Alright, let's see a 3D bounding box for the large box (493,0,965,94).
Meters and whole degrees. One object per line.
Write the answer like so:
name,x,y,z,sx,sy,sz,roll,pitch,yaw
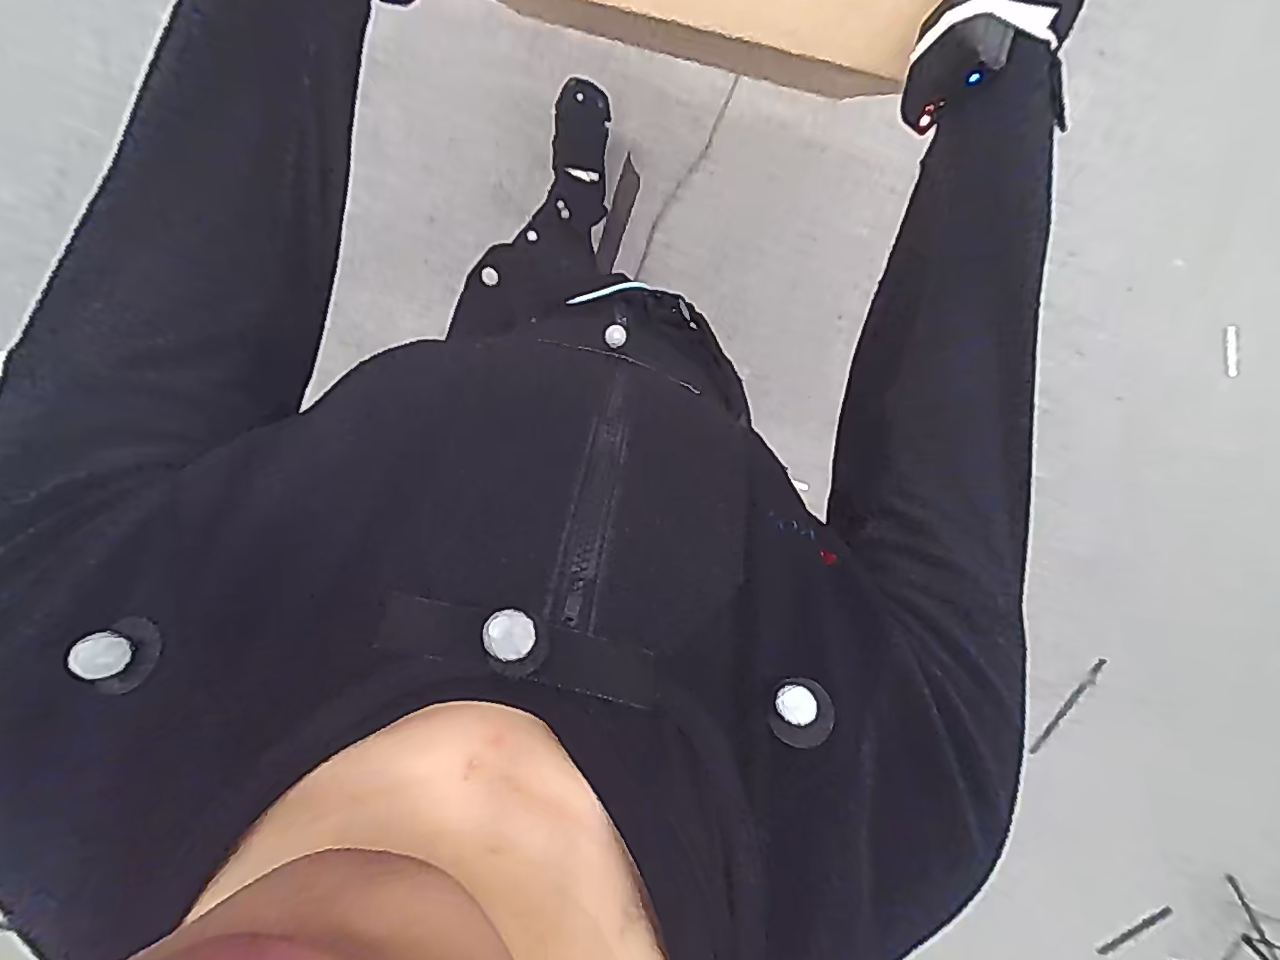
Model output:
large box,0.071,-0.556,0.455,0.408,0.320,0.320,11,125,-5
